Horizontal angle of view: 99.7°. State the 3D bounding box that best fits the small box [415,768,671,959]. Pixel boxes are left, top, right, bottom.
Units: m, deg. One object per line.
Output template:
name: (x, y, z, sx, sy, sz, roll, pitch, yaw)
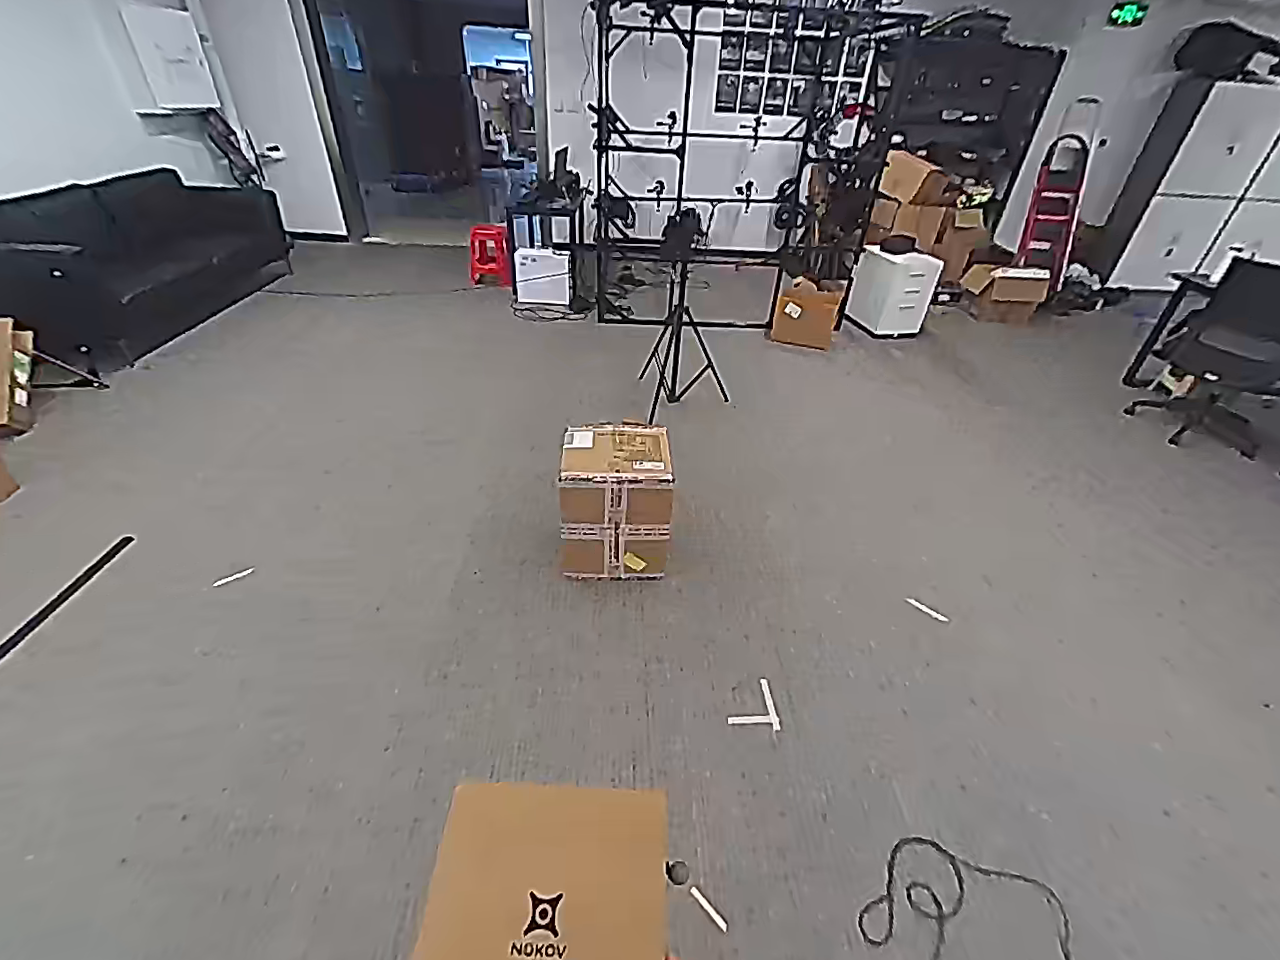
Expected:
small box: (-0.061, 0.352, 0.422, 0.168, 0.176, 0.179, 1, 43, 3)
